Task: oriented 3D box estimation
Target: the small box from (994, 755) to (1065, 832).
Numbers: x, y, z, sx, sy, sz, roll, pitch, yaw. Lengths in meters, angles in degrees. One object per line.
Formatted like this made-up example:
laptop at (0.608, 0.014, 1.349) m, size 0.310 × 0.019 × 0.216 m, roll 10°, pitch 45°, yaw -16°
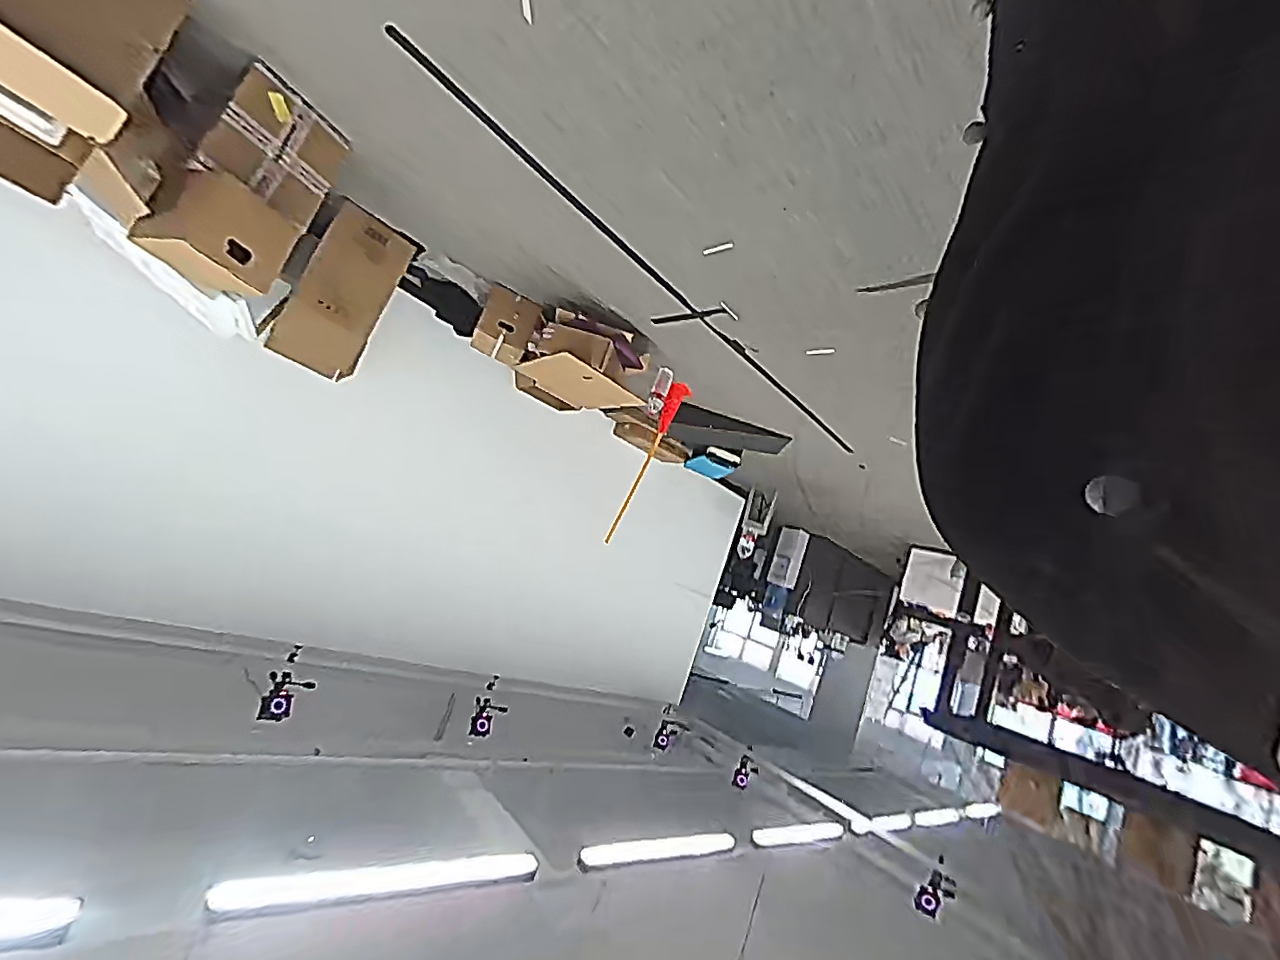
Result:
small box at (1.328, 1.056, 1.839) m, size 0.168 × 0.176 × 0.179 m, roll 10°, pitch 167°, yaw 42°

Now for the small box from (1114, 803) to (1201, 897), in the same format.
small box at (1.539, 1.089, 1.608) m, size 0.179 × 0.176 × 0.168 m, roll 26°, pitch 170°, yaw -41°
